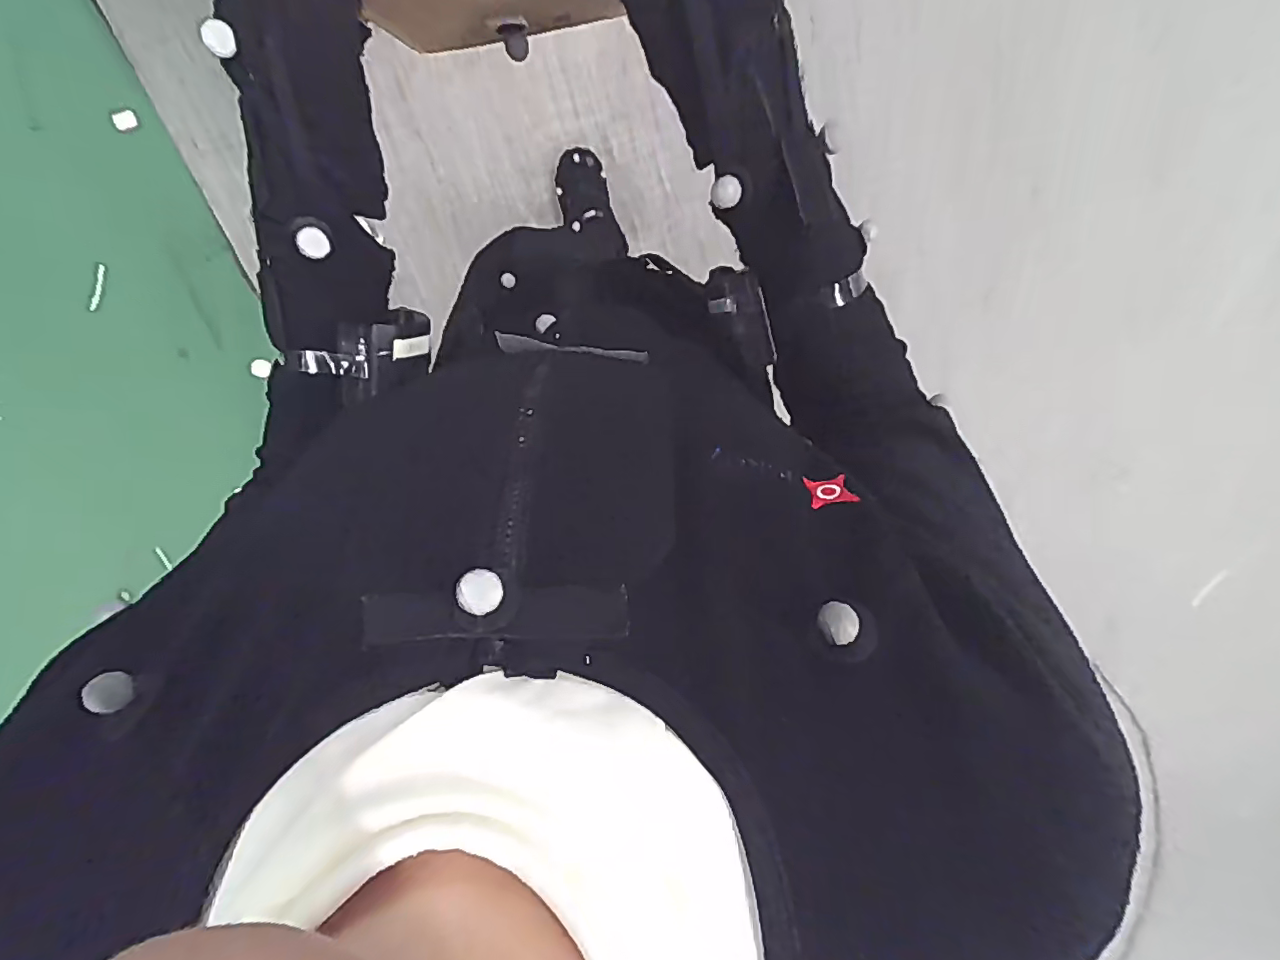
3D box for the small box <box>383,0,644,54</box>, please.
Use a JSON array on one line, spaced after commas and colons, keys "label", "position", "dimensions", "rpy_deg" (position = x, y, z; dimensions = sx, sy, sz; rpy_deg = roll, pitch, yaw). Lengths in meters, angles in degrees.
[{"label": "small box", "position": [-0.086, -0.357, 0.274], "dimensions": [0.168, 0.176, 0.179], "rpy_deg": [-9, 117, 4]}]
